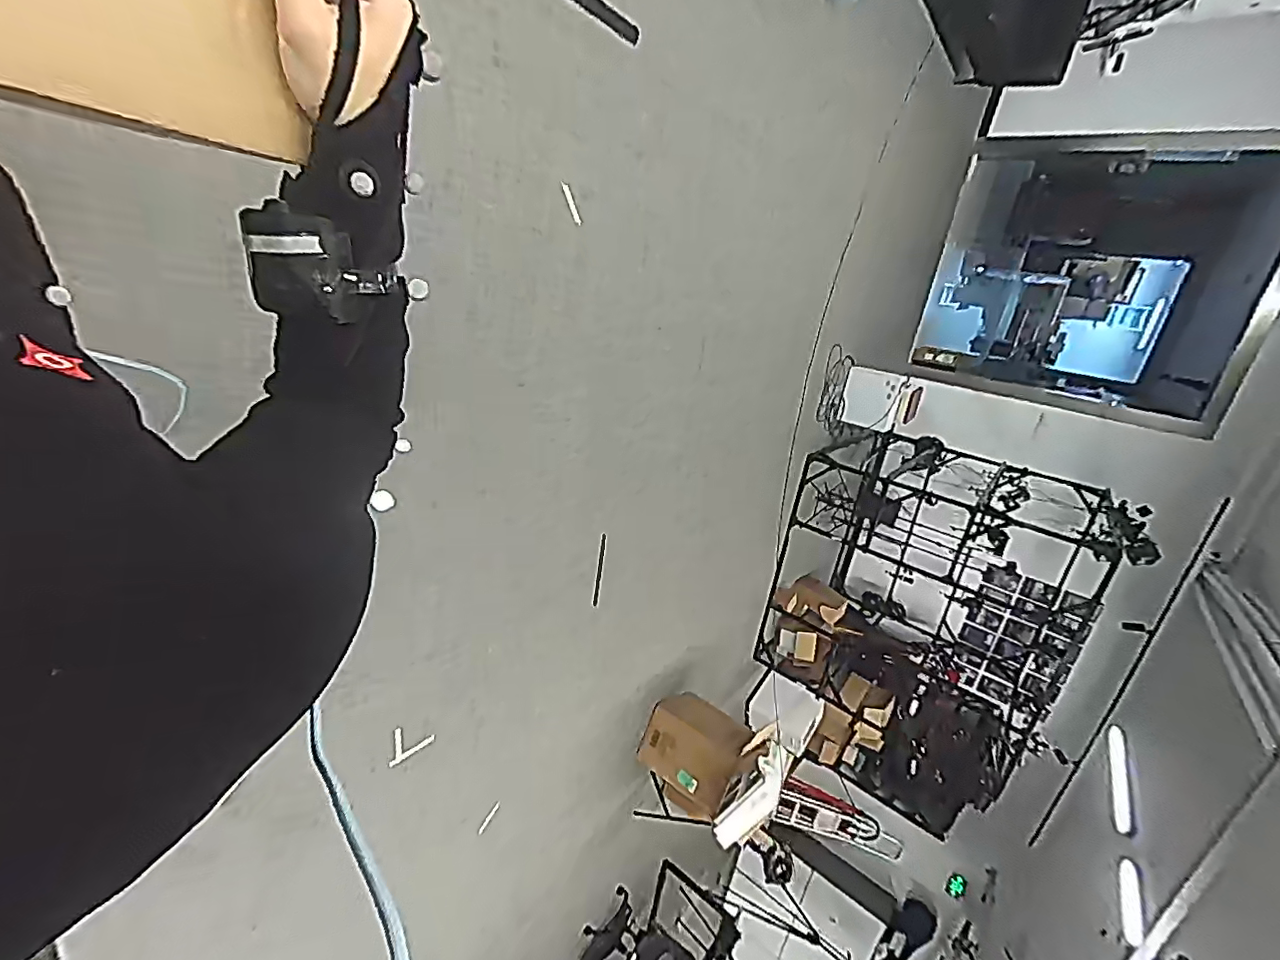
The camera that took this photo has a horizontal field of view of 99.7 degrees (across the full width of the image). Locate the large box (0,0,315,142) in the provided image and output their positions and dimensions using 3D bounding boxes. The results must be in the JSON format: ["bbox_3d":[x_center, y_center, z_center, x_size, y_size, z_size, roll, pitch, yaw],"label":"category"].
[{"bbox_3d":[-0.386,-0.345,0.162,0.408,0.320,0.320,-21,130,-56],"label":"large box"}]
